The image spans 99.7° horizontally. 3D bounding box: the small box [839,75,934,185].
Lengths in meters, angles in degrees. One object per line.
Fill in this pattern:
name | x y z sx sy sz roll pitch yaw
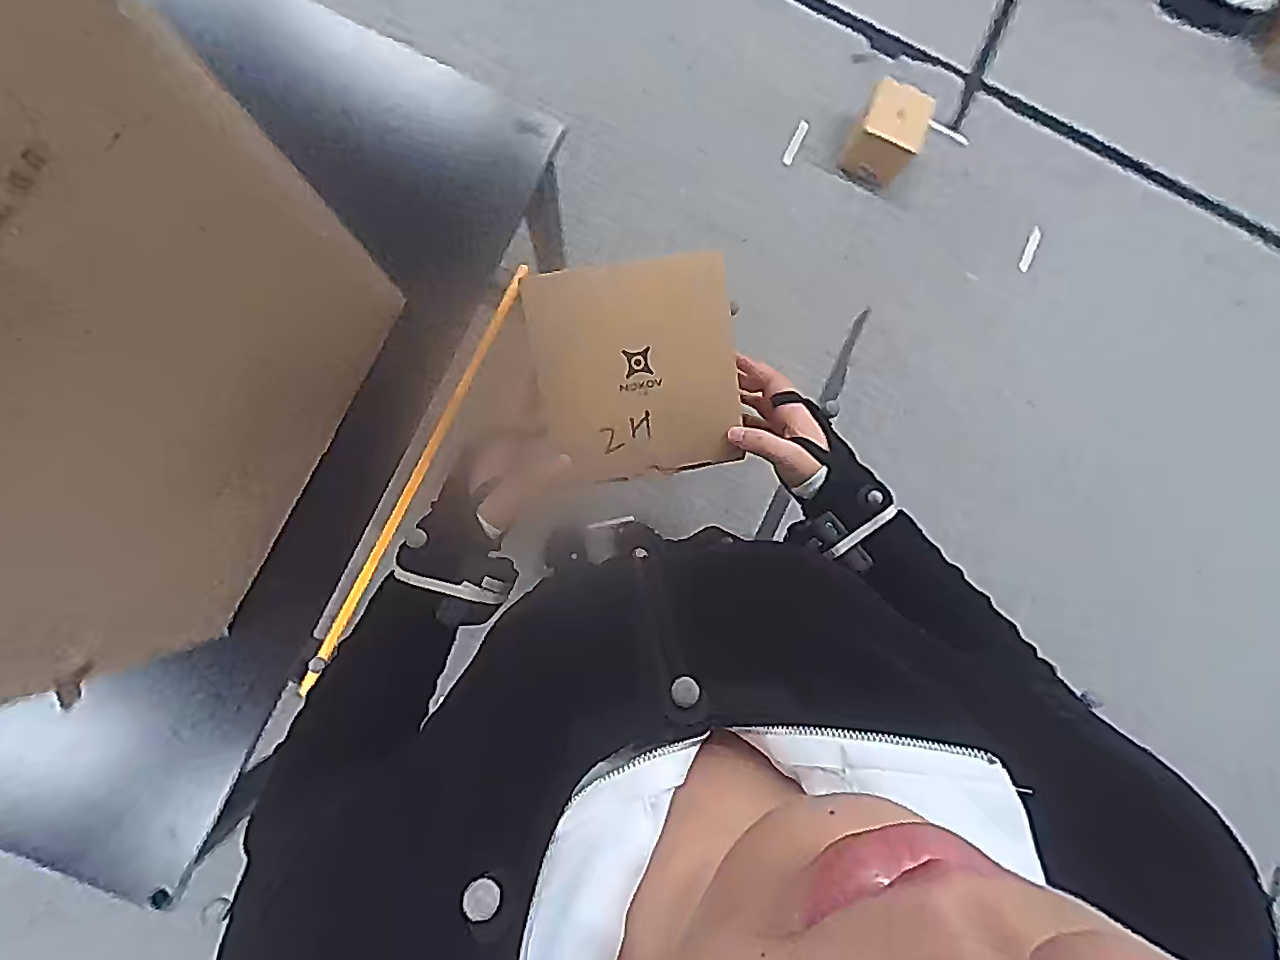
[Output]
small box | 0.705 -1.004 1.564 0.168 0.176 0.179 21 86 -2
